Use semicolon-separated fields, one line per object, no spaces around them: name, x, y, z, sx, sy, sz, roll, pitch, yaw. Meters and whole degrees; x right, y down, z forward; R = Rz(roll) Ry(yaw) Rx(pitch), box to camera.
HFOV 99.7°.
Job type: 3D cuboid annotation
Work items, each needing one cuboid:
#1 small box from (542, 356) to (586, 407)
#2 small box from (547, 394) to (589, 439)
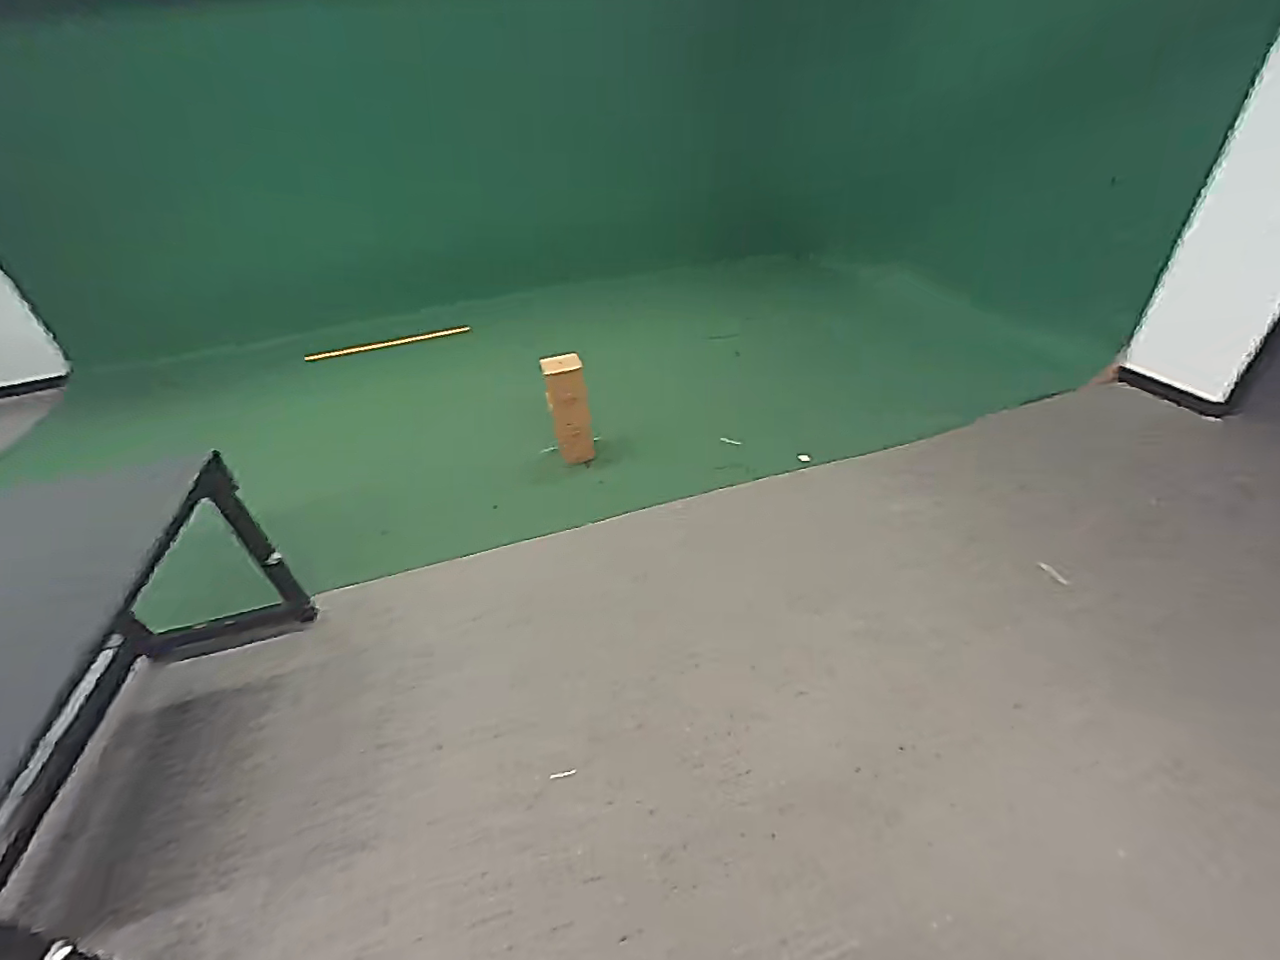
small box;-0.355;-0.457;2.522;0.168;0.176;0.179;-12;37;-10
small box;-0.348;-0.320;2.614;0.168;0.176;0.179;-13;37;-11
